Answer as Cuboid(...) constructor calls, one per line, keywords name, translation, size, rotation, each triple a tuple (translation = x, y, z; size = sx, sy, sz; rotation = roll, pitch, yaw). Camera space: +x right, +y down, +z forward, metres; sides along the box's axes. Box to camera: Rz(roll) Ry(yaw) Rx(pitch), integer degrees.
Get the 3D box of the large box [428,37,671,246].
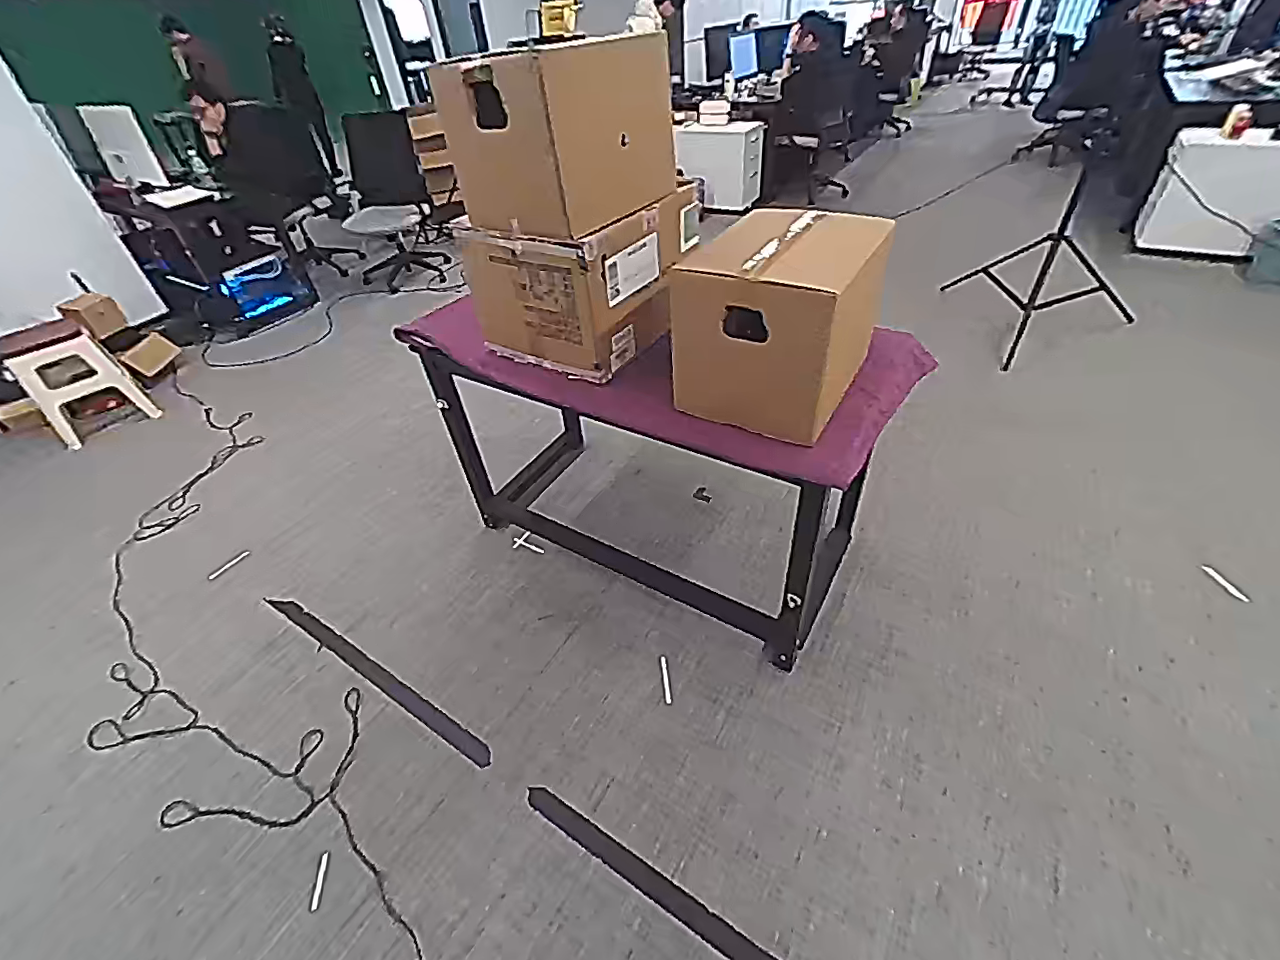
Cuboid(name="large box", translation=(-0.167, -0.748, 1.196), size=(0.320, 0.320, 0.408), rotation=(18, 47, 30))
